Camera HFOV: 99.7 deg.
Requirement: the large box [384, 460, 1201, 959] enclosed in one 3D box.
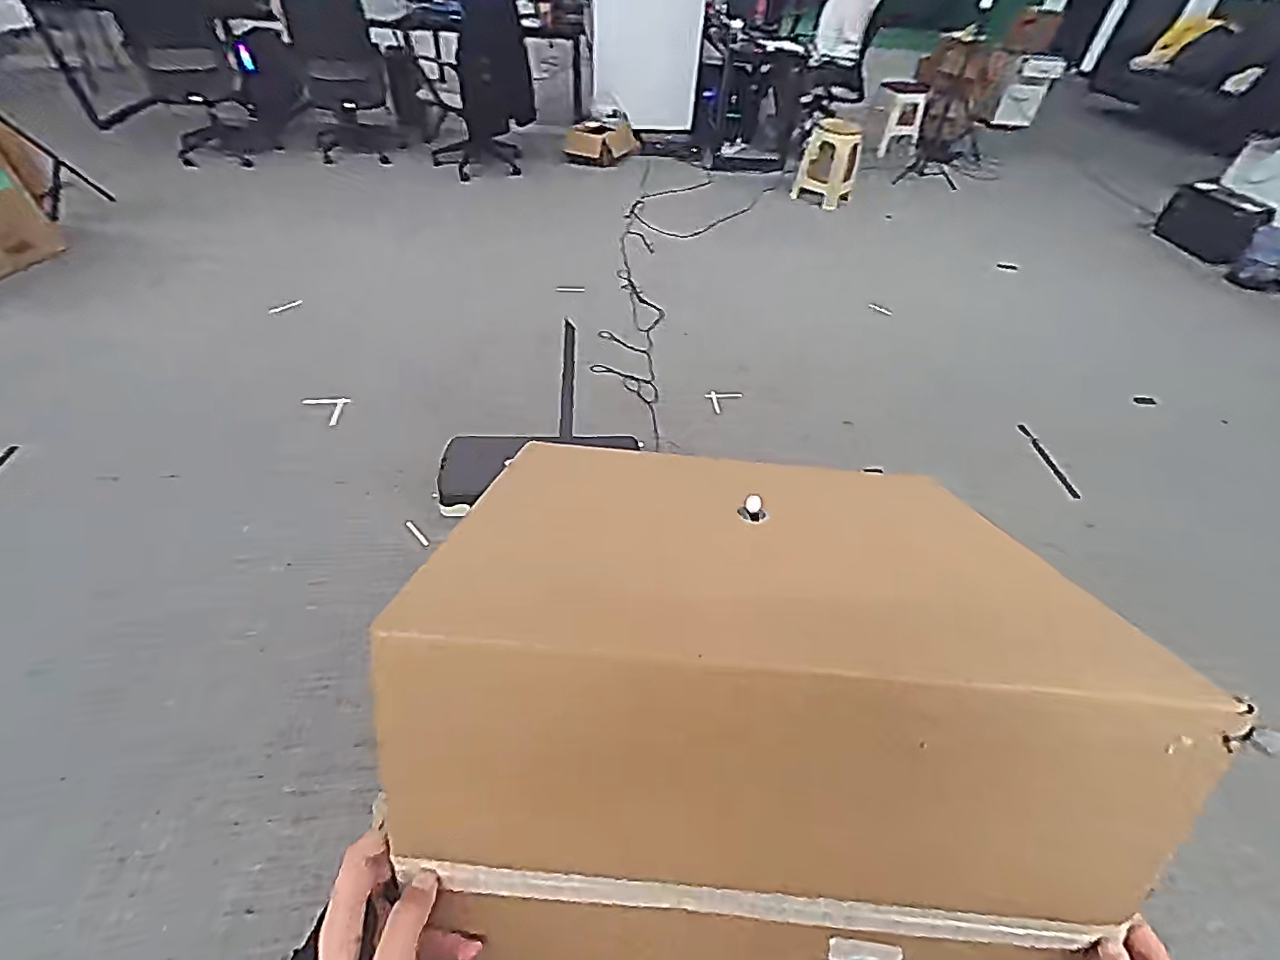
[{"bbox_3d":[0.067,0.181,0.451,0.408,0.320,0.320,4,22,1],"label":"large box"}]
